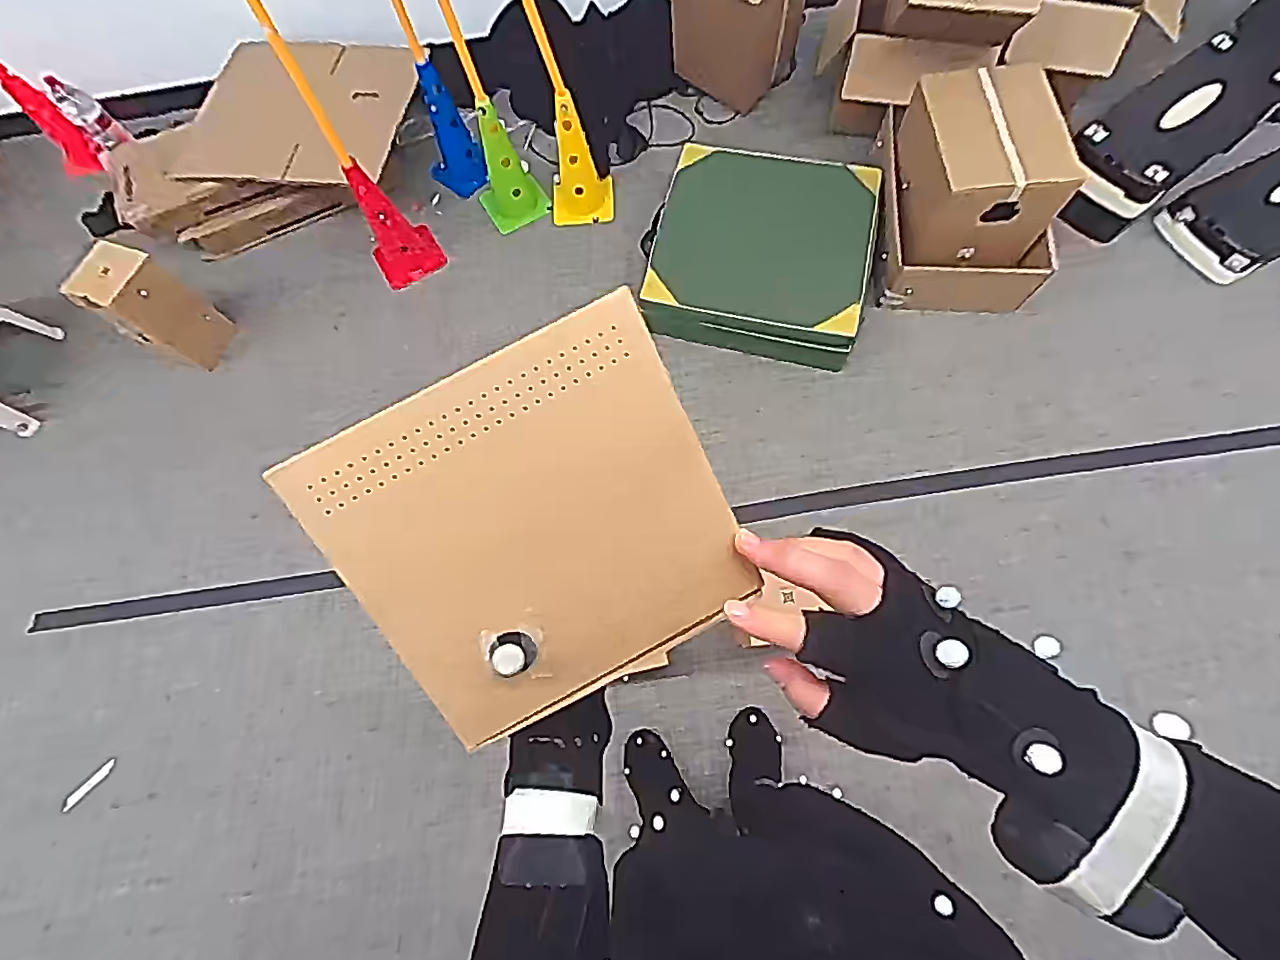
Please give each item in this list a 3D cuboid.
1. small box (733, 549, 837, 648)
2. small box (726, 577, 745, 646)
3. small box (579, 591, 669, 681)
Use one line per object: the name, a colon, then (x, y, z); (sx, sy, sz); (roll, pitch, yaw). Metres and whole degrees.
small box: (0.289, 0.250, 1.119); (0.168, 0.176, 0.179); (-5, 72, 3)
small box: (0.307, 0.298, 1.273); (0.179, 0.176, 0.168); (-4, 70, 1)
small box: (-0.032, 0.371, 1.269); (0.179, 0.176, 0.168); (-12, 71, -1)
